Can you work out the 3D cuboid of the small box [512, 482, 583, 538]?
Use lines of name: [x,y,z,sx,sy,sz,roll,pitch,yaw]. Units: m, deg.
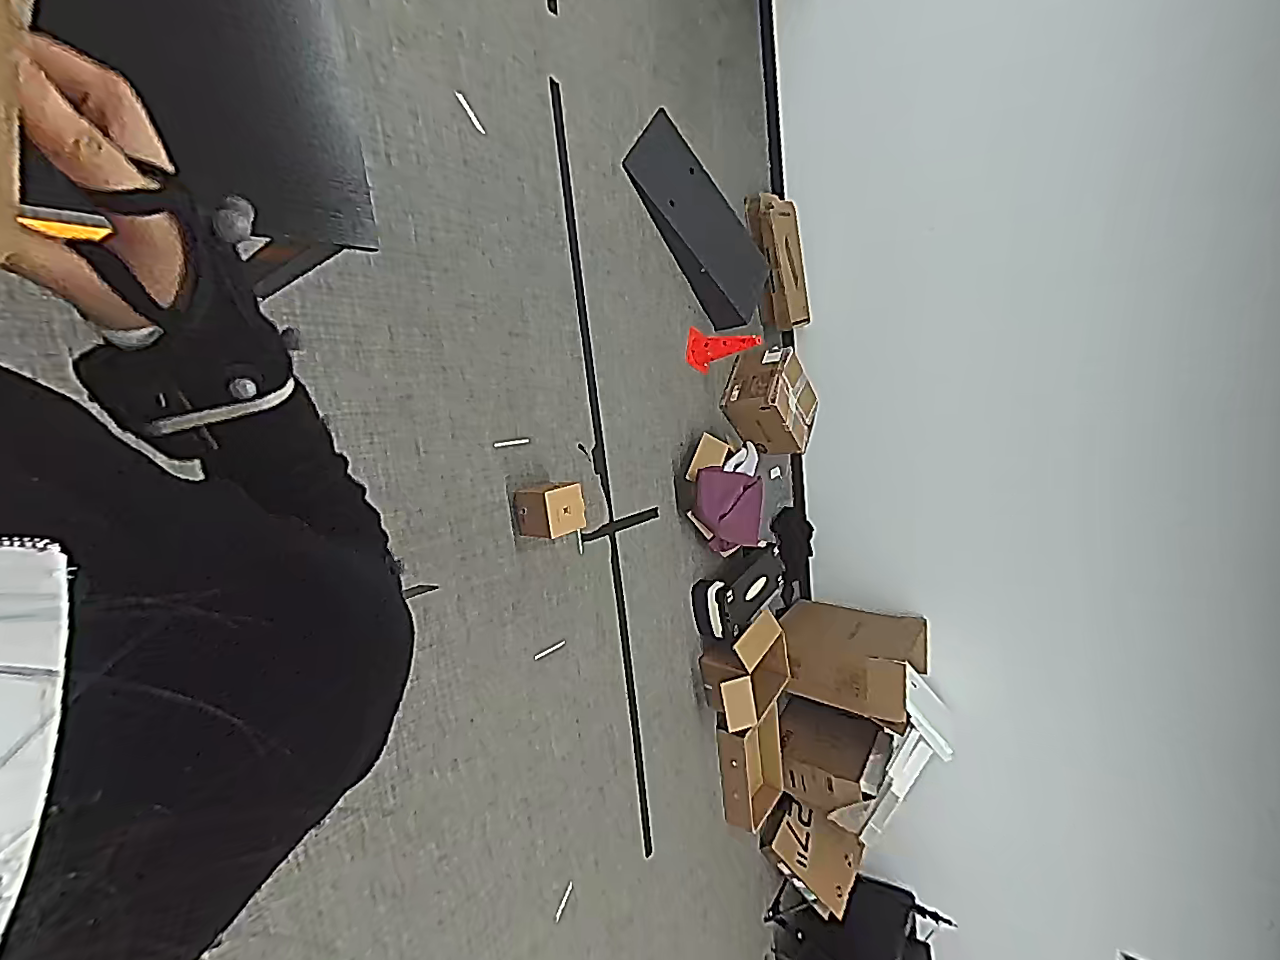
small box: [-0.333,0.102,1.939,0.179,0.176,0.168,-18,103,-49]
